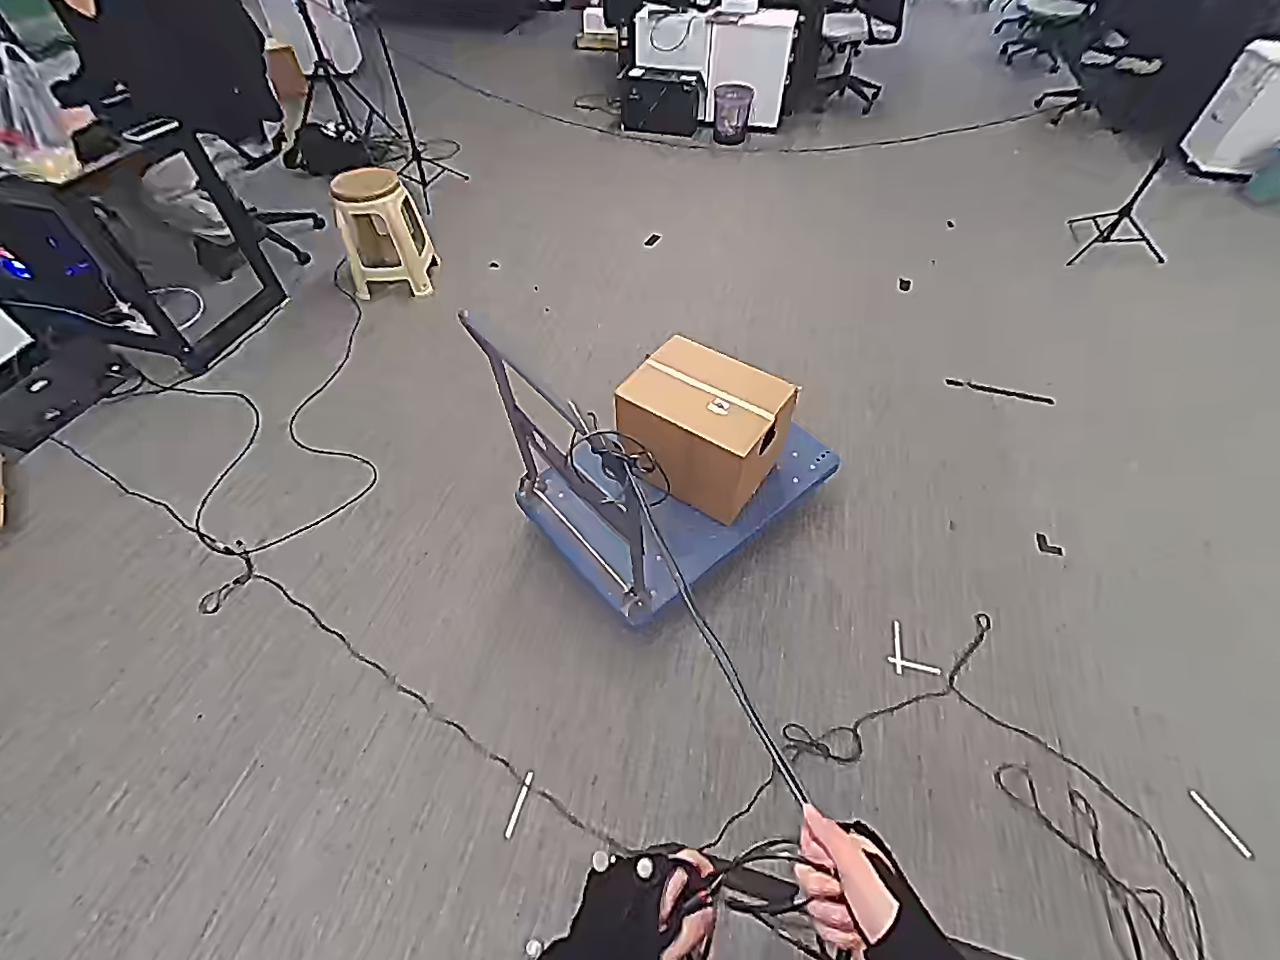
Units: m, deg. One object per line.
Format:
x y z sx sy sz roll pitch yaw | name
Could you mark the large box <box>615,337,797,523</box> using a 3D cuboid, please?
0.174 -0.148 1.568 0.408 0.320 0.320 29 58 20 | large box
